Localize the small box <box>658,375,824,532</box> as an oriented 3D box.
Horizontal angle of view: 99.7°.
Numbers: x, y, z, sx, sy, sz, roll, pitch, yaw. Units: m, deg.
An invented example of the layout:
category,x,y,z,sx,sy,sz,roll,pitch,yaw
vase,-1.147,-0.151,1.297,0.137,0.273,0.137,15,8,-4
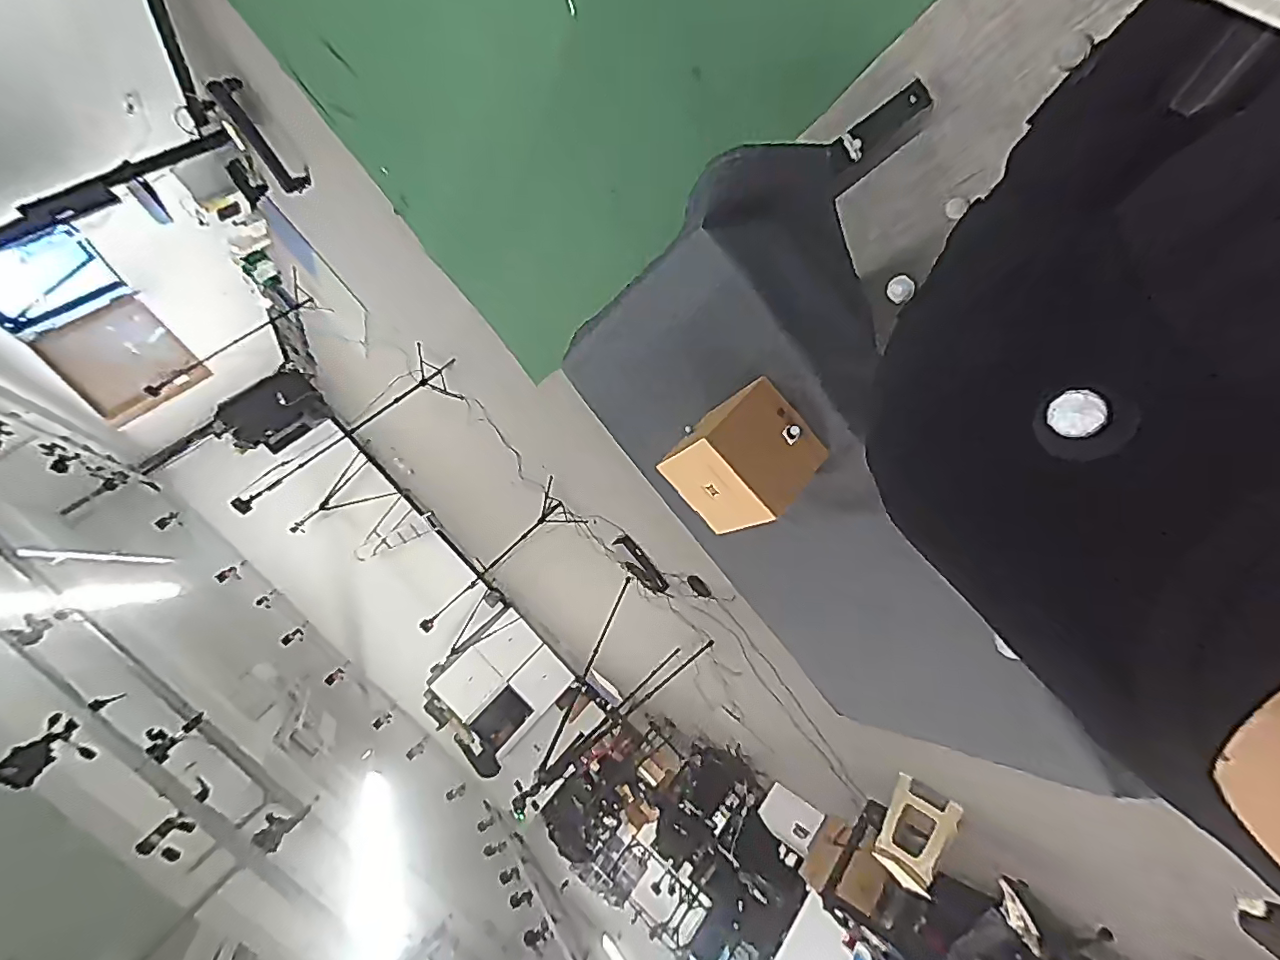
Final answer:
category,x,y,z,sx,sy,sz,roll,pitch,yaw
small box,0.166,-0.040,0.893,0.168,0.176,0.179,46,154,-6
